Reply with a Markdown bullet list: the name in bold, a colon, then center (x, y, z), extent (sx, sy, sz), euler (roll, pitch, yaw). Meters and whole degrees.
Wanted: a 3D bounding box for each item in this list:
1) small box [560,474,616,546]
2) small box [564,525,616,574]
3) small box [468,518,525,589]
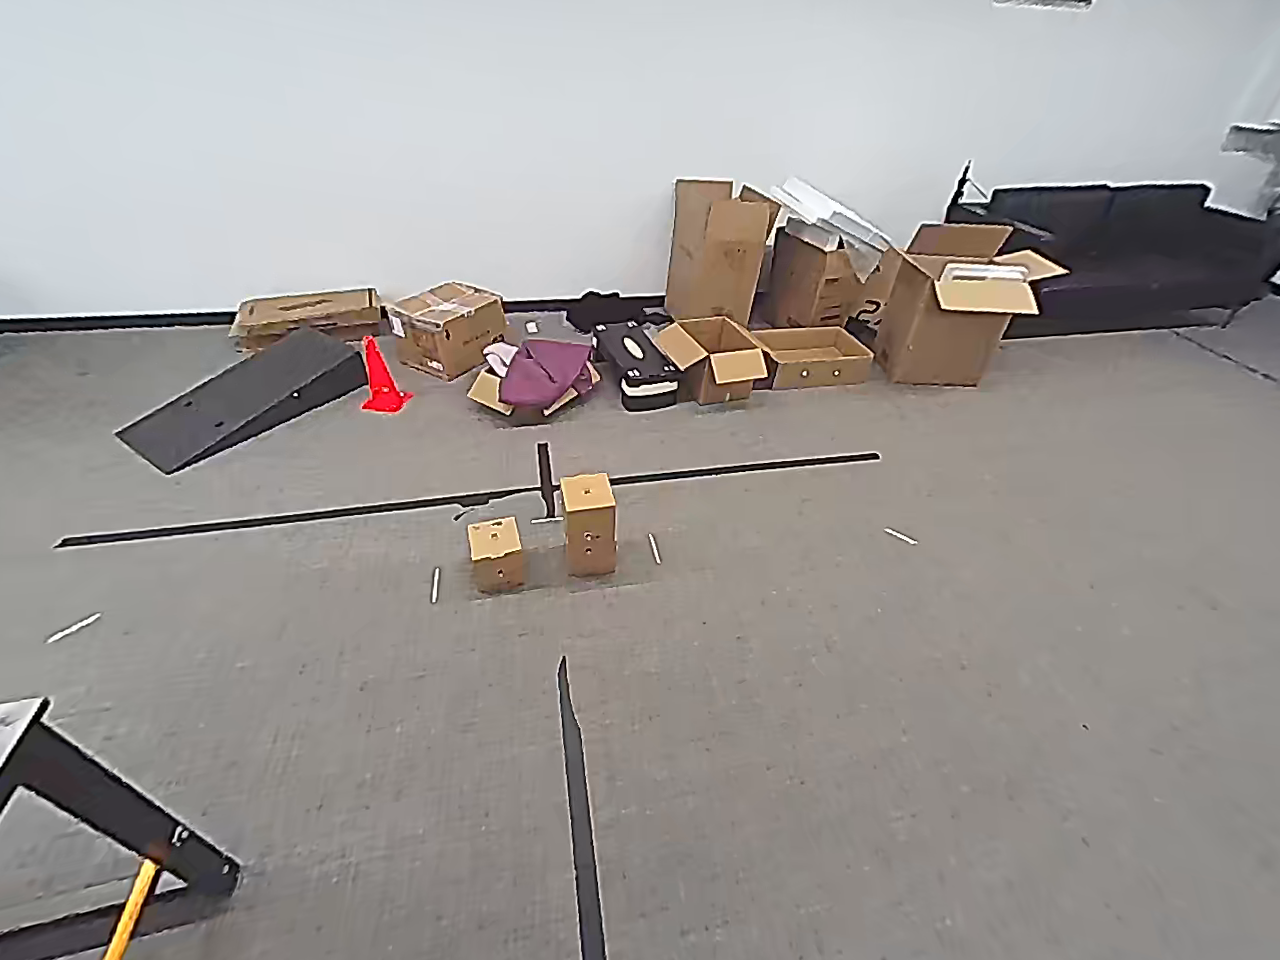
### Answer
- **small box**: center (-0.182, 0.105, 1.876), extent (0.168, 0.176, 0.179), euler (-8, 42, -12)
- **small box**: center (-0.185, 0.230, 1.979), extent (0.179, 0.176, 0.168), euler (-3, 40, -10)
- **small box**: center (-0.505, 0.267, 1.908), extent (0.168, 0.176, 0.179), euler (-11, 42, -16)
